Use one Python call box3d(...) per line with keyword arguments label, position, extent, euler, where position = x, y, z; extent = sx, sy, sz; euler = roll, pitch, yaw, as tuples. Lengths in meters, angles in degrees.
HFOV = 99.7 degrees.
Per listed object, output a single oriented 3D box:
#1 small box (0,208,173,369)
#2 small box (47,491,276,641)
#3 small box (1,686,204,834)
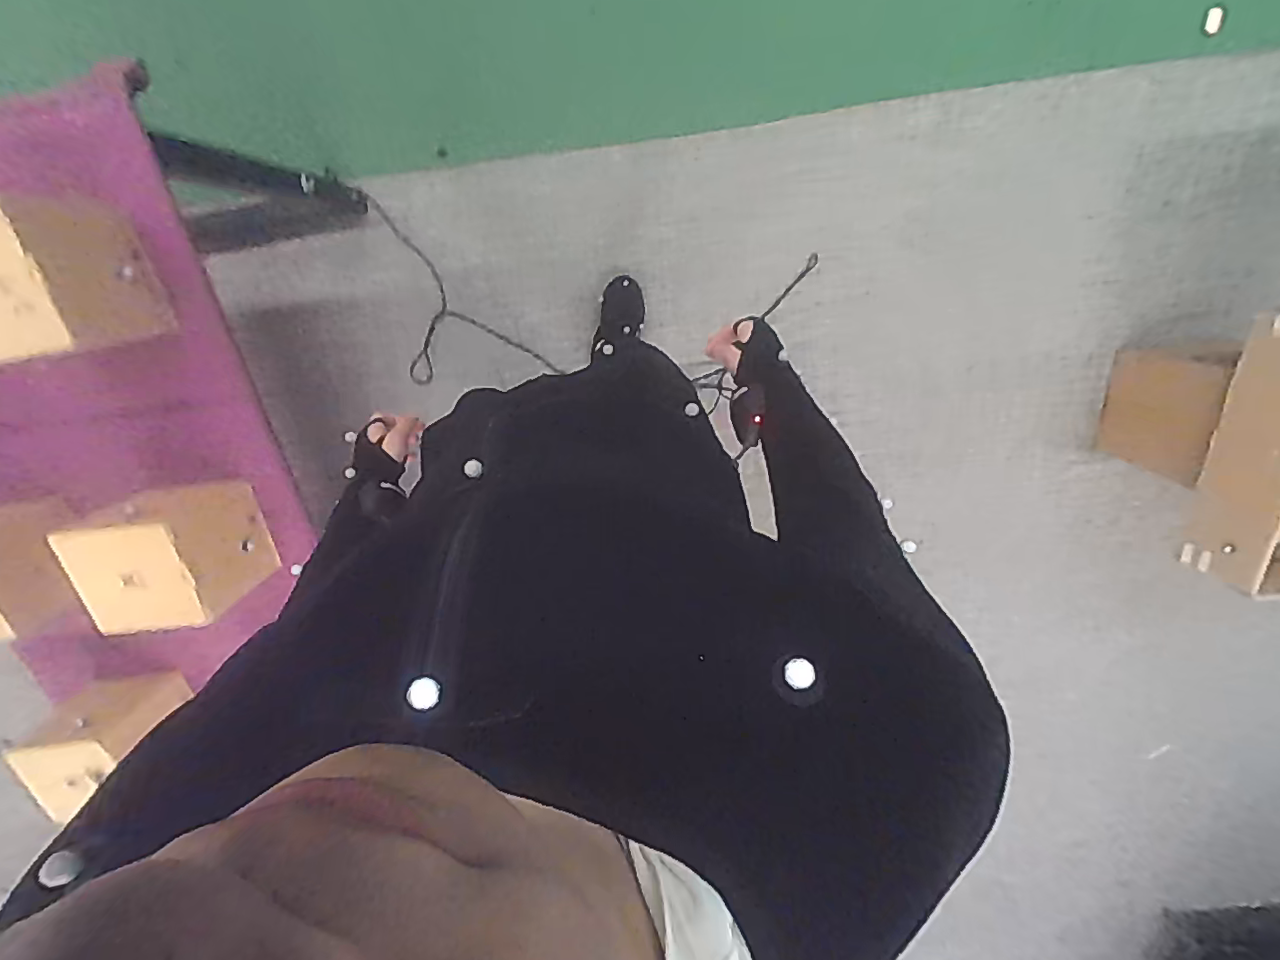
box3d(label="small box", position=(-0.778, -0.240, 0.698), extent=(0.179, 0.176, 0.168), euler=(-9, 112, 3))
box3d(label="small box", position=(-0.721, 0.126, 0.839), extent=(0.179, 0.176, 0.168), euler=(-7, 110, 3))
box3d(label="small box", position=(-0.941, 0.494, 0.975), extent=(0.179, 0.176, 0.168), euler=(-9, 110, 3))
